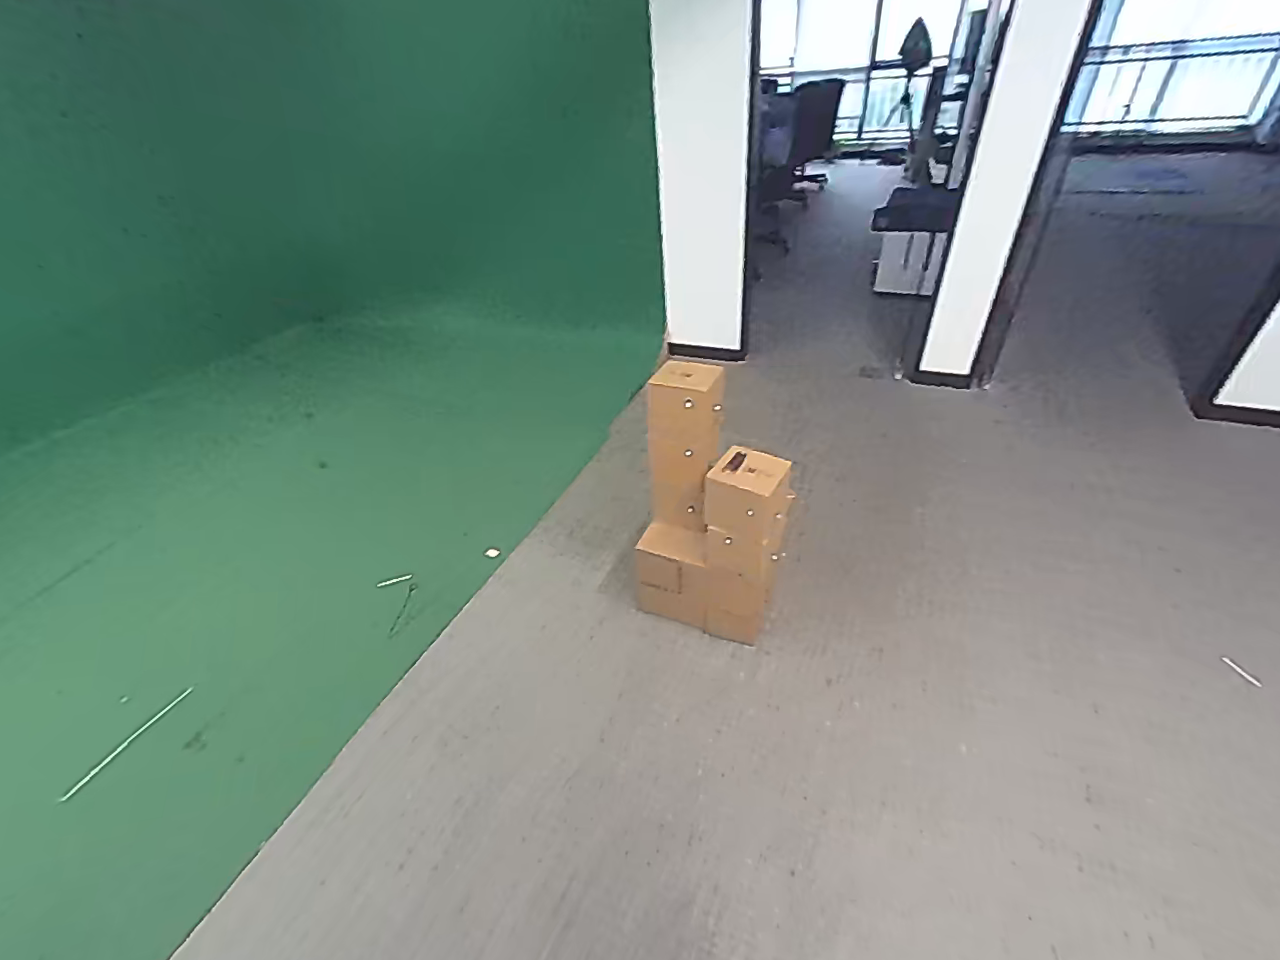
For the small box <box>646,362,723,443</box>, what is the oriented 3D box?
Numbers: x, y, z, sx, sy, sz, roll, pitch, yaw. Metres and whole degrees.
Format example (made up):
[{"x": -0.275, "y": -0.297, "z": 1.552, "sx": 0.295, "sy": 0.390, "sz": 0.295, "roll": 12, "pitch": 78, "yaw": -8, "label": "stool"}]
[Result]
[{"x": 0.131, "y": -0.223, "z": 1.566, "sx": 0.179, "sy": 0.176, "sz": 0.168, "roll": 13, "pitch": 38, "yaw": 22, "label": "small box"}]

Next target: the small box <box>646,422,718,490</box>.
[{"x": 0.130, "y": -0.089, "z": 1.663, "sx": 0.179, "sy": 0.176, "sz": 0.168, "roll": 13, "pitch": 38, "yaw": 20, "label": "small box"}]

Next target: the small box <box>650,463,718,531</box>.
[{"x": 0.146, "y": 0.044, "z": 1.754, "sx": 0.179, "sy": 0.176, "sz": 0.168, "roll": 10, "pitch": 38, "yaw": 20, "label": "small box"}]

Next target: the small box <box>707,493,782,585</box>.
[{"x": 0.298, "y": 0.170, "z": 1.566, "sx": 0.168, "sy": 0.176, "sz": 0.179, "roll": 16, "pitch": 41, "yaw": 24, "label": "small box"}]
